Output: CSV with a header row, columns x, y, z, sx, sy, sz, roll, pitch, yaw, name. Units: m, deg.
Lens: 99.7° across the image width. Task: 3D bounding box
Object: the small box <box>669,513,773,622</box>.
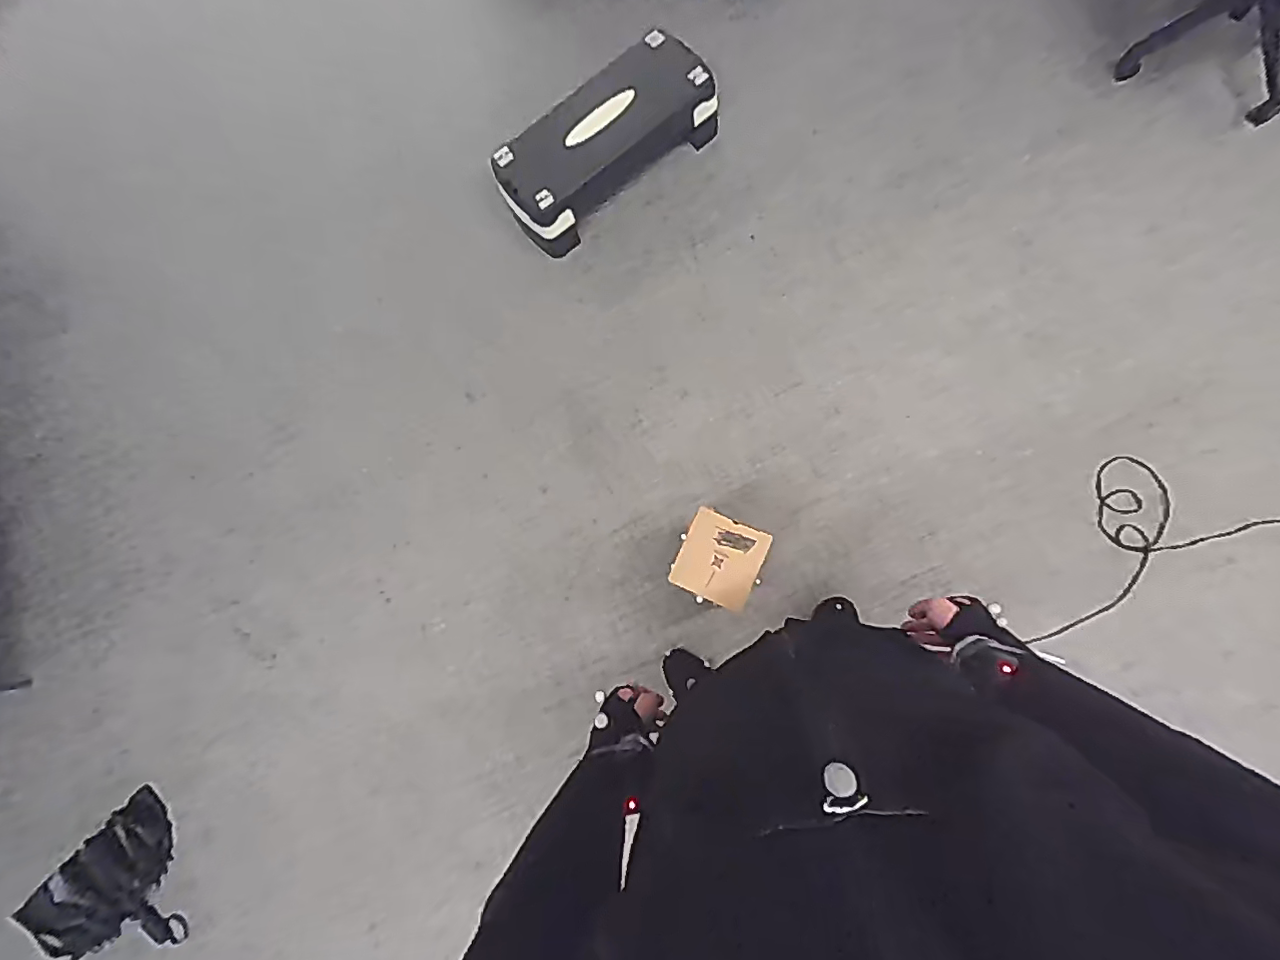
x,y,z,sx,sy,sz,roll,pitch,yaw,name
0.178,0.195,1.198,0.168,0.176,0.179,24,83,12,small box
